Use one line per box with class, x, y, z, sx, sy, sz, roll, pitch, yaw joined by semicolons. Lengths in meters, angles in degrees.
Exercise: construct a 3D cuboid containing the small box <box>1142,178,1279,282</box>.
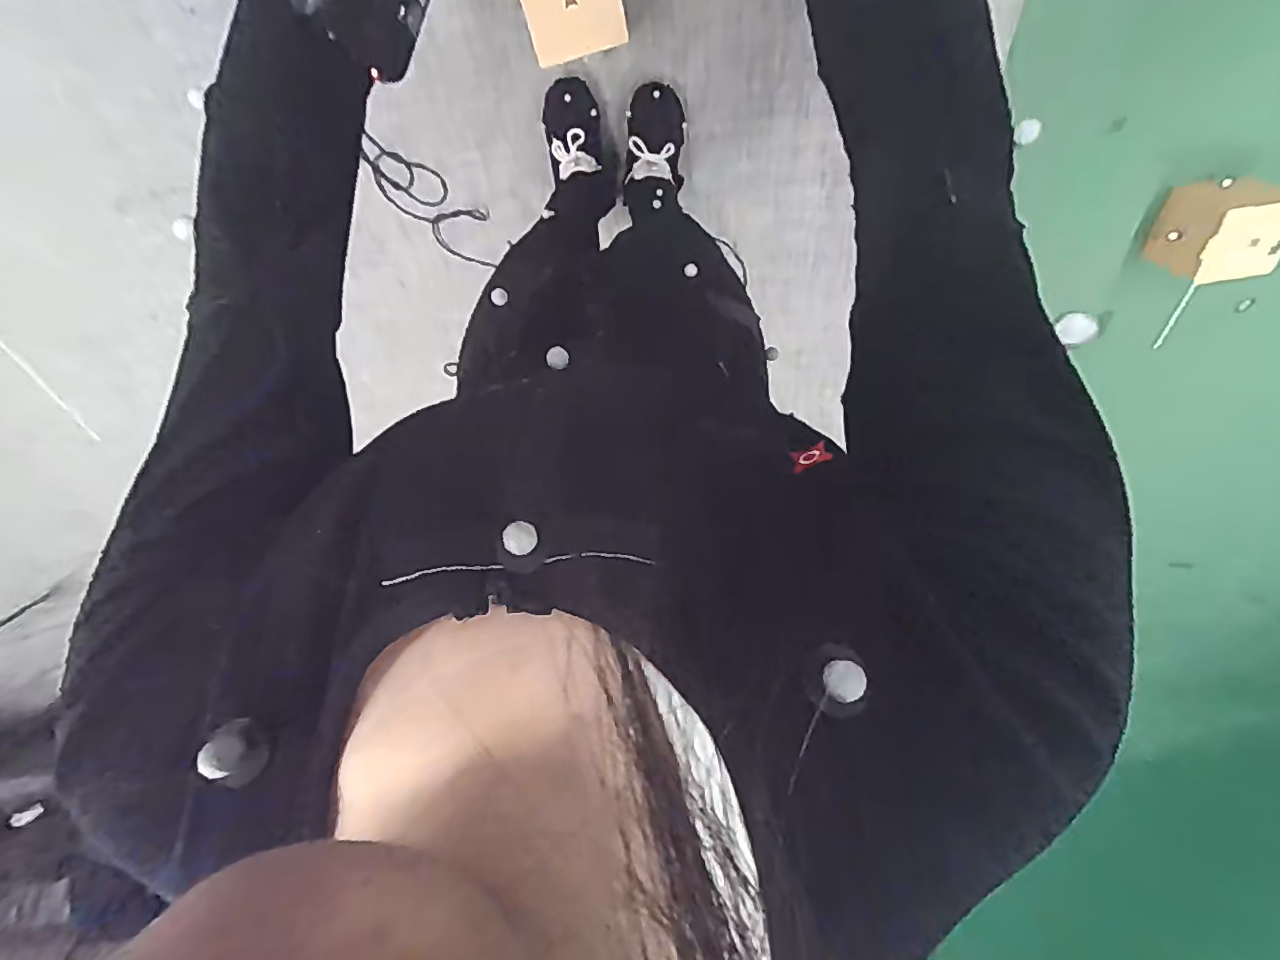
small box;1.329;-0.576;1.242;0.179;0.176;0.168;-5;133;5
